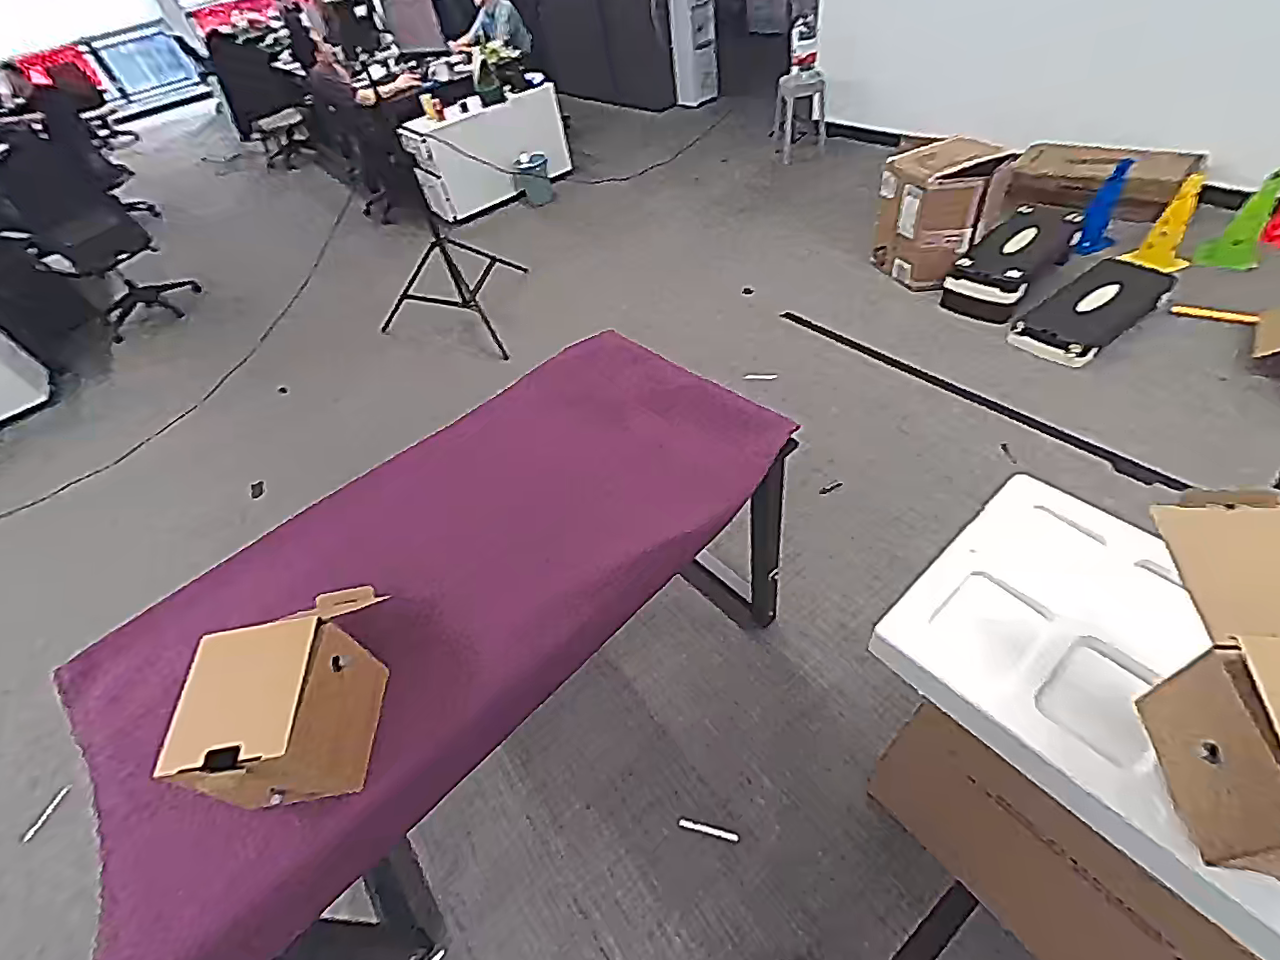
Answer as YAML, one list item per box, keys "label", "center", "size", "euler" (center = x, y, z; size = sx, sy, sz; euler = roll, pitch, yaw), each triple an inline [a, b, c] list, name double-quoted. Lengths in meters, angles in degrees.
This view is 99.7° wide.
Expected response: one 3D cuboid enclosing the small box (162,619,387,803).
- label: "small box"
  center: [-0.478, 0.320, 0.746]
  size: [0.168, 0.176, 0.179]
  euler: [-11, 47, 4]
